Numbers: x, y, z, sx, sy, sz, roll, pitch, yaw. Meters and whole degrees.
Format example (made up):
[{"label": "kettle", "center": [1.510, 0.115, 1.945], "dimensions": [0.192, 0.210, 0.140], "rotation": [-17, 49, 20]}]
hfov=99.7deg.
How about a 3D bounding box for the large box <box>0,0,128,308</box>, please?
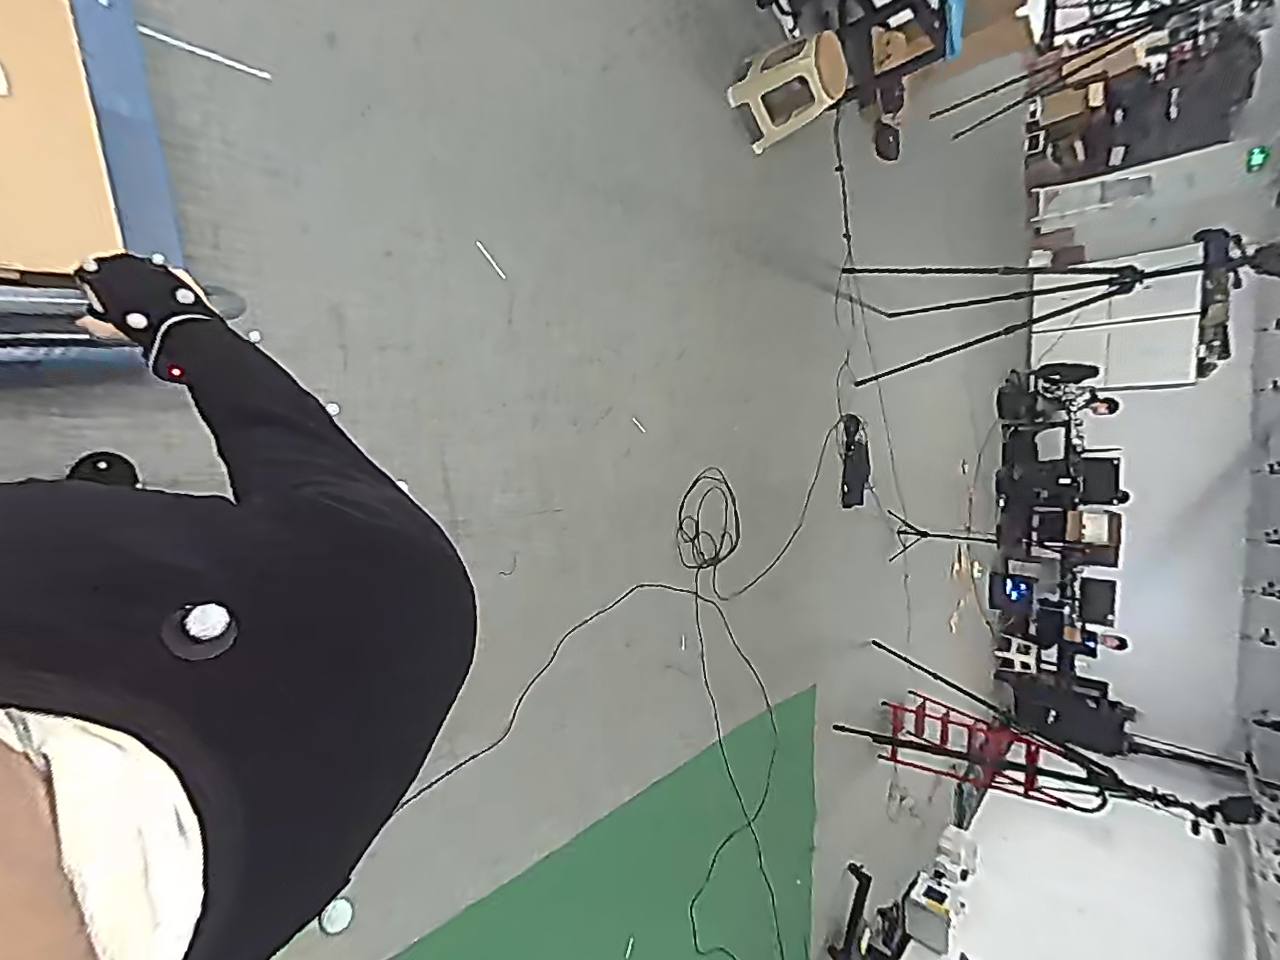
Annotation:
[{"label": "large box", "center": [-1.056, -0.500, 0.839], "dimensions": [0.320, 0.320, 0.408], "rotation": [-14, 102, -44]}]
